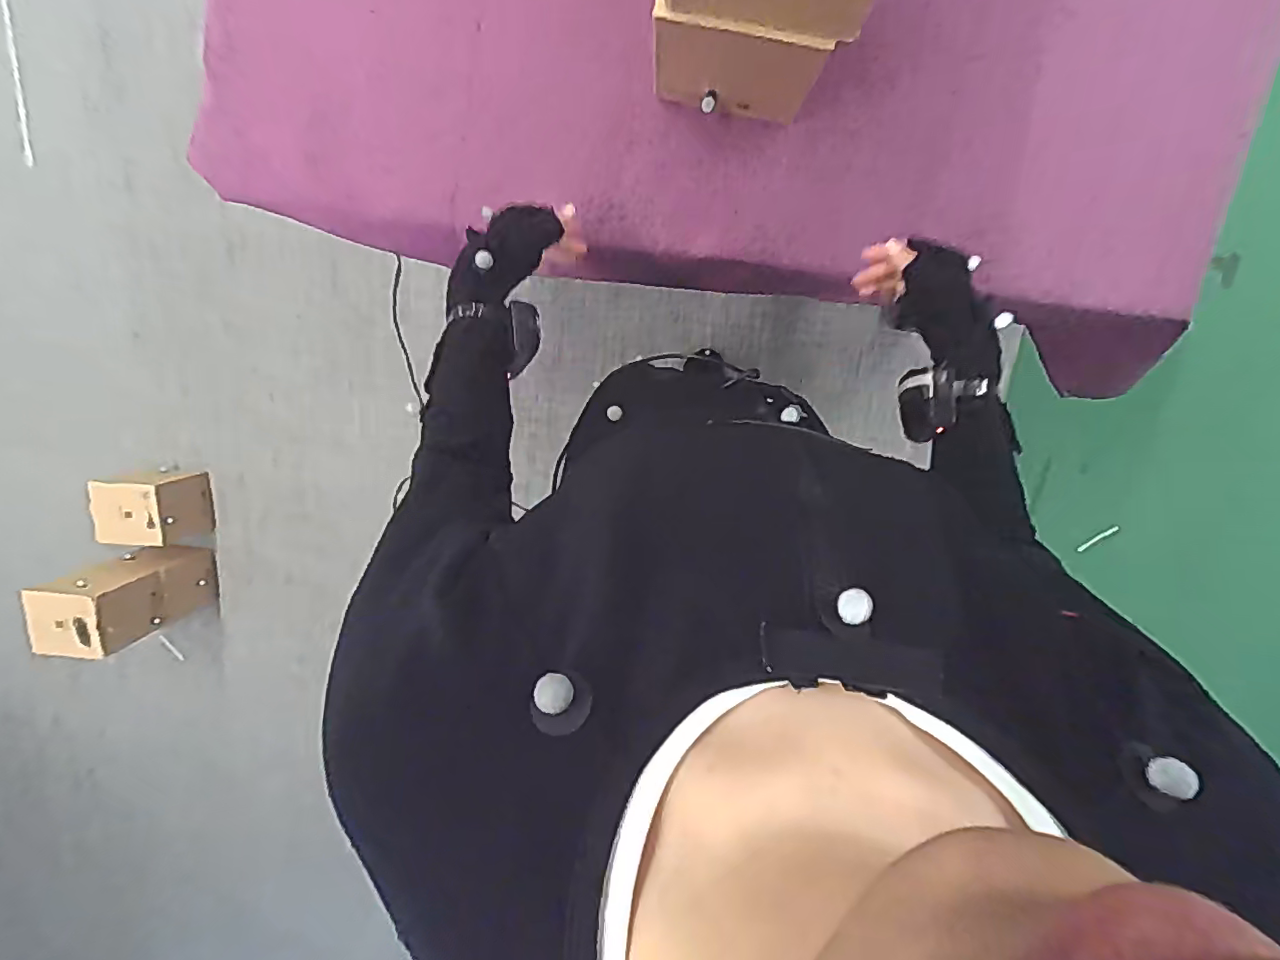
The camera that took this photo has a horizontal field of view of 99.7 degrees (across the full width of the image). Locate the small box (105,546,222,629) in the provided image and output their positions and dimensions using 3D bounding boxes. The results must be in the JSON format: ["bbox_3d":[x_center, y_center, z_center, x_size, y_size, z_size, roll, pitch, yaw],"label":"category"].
[{"bbox_3d":[-1.320,0.293,1.508,0.179,0.176,0.168,6,104,0],"label":"small box"}]

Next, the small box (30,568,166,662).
[{"bbox_3d":[-1.333,0.329,1.348,0.179,0.176,0.168,5,103,2],"label":"small box"}]

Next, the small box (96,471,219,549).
[{"bbox_3d":[-1.290,0.075,1.457,0.179,0.176,0.168,4,103,2],"label":"small box"}]

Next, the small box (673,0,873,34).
[{"bbox_3d":[0.115,-0.457,0.376,0.179,0.176,0.168,10,103,1],"label":"small box"}]

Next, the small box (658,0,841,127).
[{"bbox_3d":[0.113,-0.491,0.535,0.168,0.176,0.179,11,103,0],"label":"small box"}]
